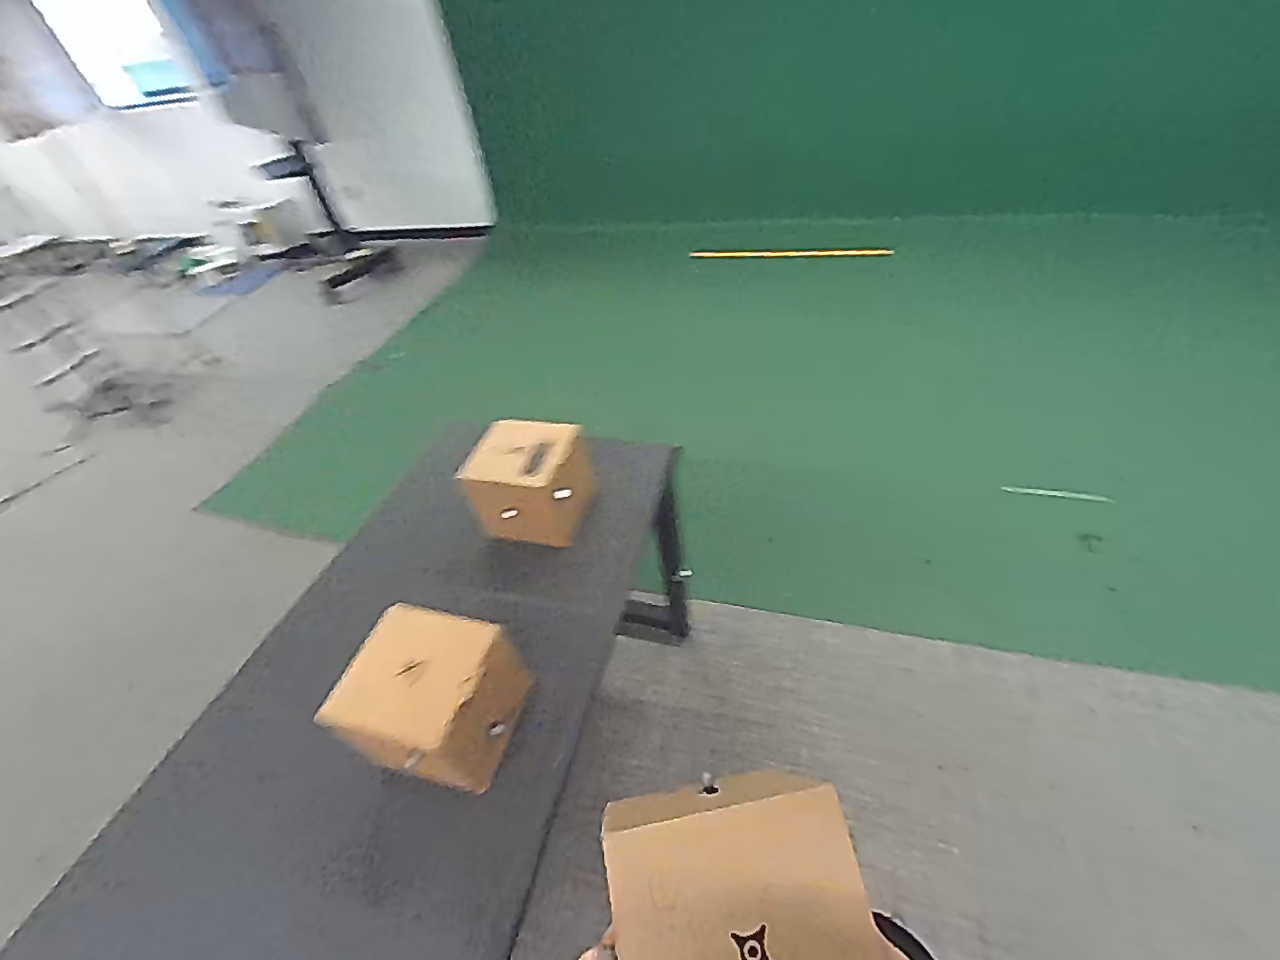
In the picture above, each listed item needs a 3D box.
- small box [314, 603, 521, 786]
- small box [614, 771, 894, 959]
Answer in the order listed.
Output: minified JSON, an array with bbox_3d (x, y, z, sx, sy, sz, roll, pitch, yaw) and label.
[{"bbox_3d":[-0.291,0.297,0.749,0.179,0.176,0.168,7,46,15],"label":"small box"},{"bbox_3d":[0.071,0.327,0.405,0.168,0.176,0.179,-7,66,-6],"label":"small box"}]
